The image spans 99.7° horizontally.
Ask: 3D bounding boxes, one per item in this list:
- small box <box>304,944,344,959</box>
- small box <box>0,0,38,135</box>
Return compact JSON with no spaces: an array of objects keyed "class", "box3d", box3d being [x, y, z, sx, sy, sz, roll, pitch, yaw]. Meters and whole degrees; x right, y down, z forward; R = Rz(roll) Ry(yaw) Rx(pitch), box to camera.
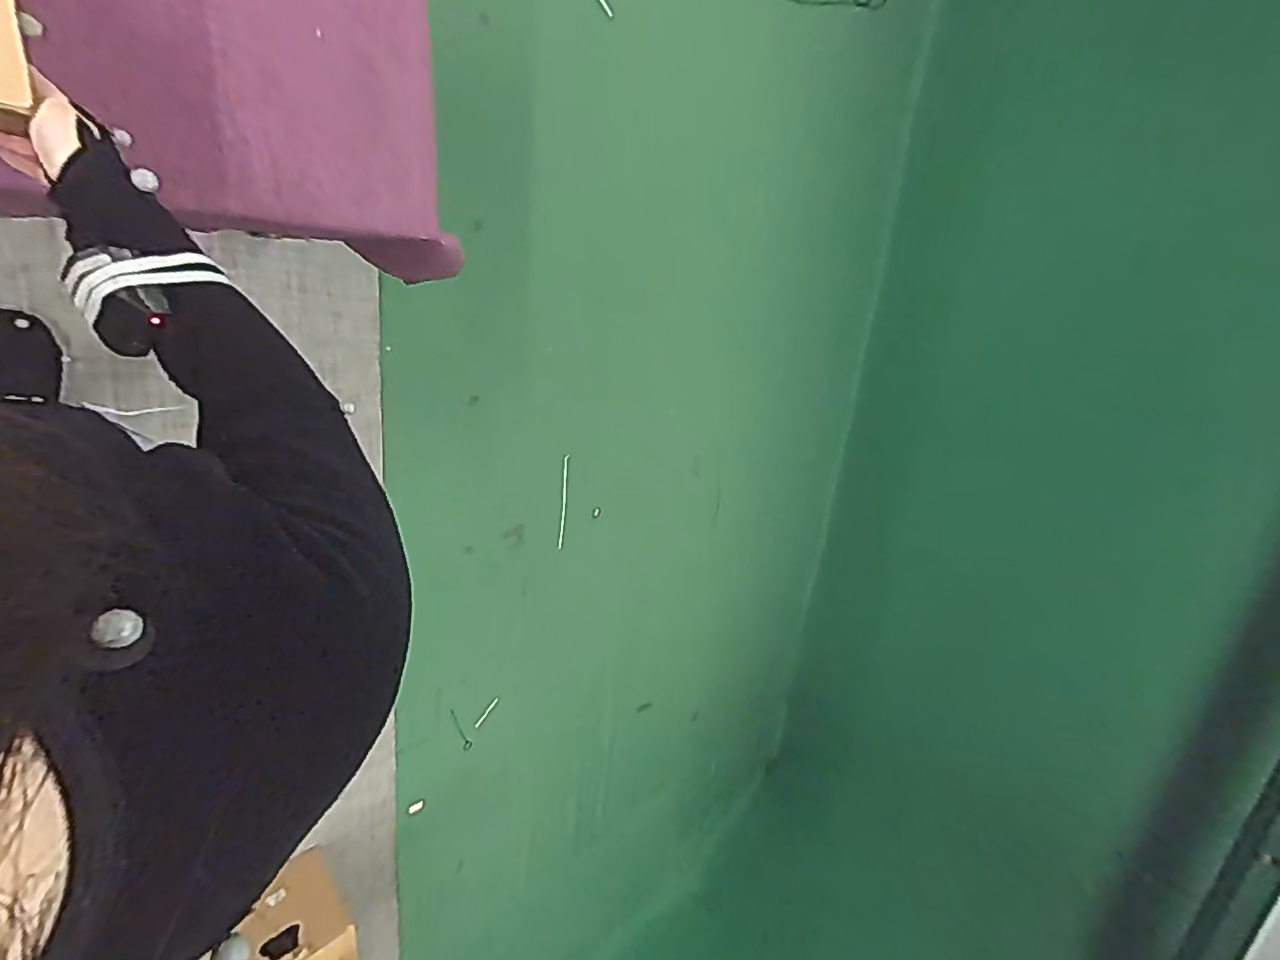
[{"class":"small box","box3d":[-0.849,1.374,1.397,0.168,0.176,0.179,1,105,-49]},{"class":"small box","box3d":[-0.527,-0.350,0.351,0.168,0.176,0.179,-12,115,-45]}]
